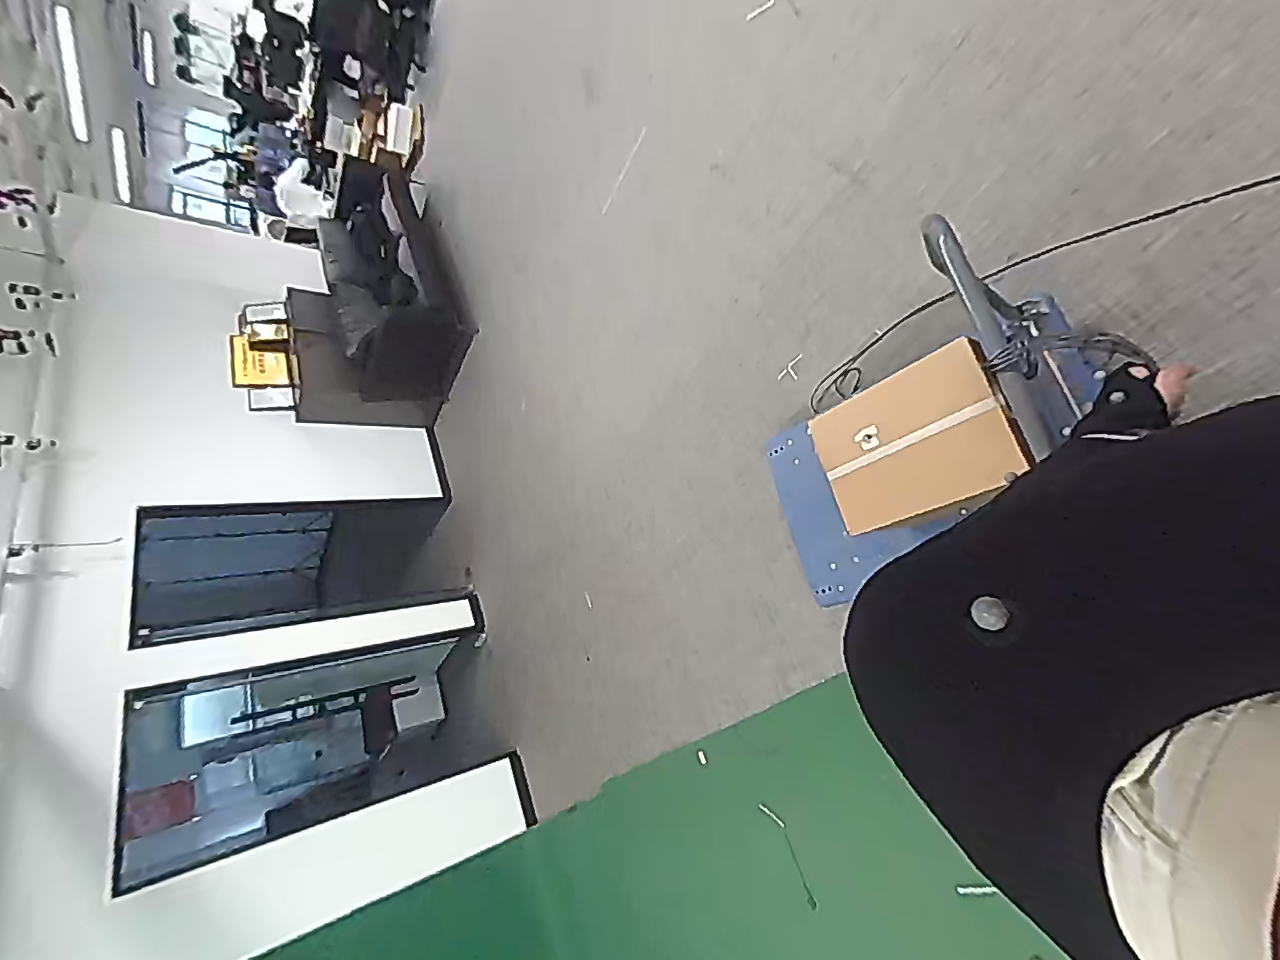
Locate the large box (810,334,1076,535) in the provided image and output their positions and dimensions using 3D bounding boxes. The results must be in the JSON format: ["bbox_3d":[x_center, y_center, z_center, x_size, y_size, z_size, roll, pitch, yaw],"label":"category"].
[{"bbox_3d":[0.700,-0.088,1.284,0.408,0.320,0.320,-33,65,47],"label":"large box"}]
